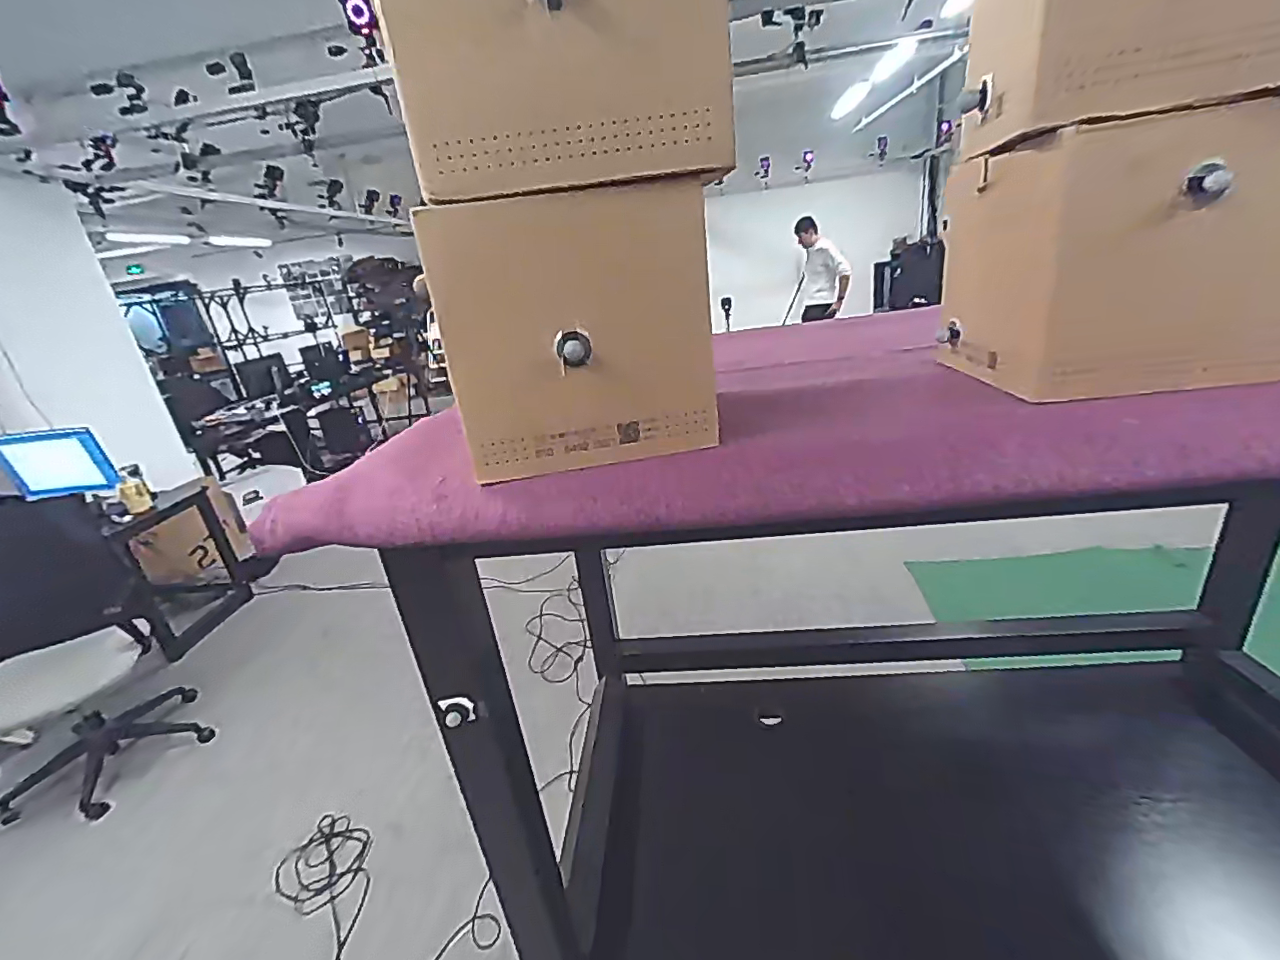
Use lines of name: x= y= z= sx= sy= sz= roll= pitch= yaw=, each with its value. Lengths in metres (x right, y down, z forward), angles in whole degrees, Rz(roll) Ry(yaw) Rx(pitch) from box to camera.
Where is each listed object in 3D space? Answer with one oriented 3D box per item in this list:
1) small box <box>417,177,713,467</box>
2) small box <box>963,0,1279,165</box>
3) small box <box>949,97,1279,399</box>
small box: x=-0.045 y=-0.114 z=0.409 sx=0.168 sy=0.176 sz=0.179 roll=-8 pitch=22 yaw=-5
small box: x=0.325 y=-0.310 z=0.338 sx=0.179 sy=0.176 sz=0.168 roll=-2 pitch=22 yaw=18
small box: x=0.350 y=-0.161 z=0.398 sx=0.179 sy=0.176 sz=0.168 roll=-4 pitch=22 yaw=8
